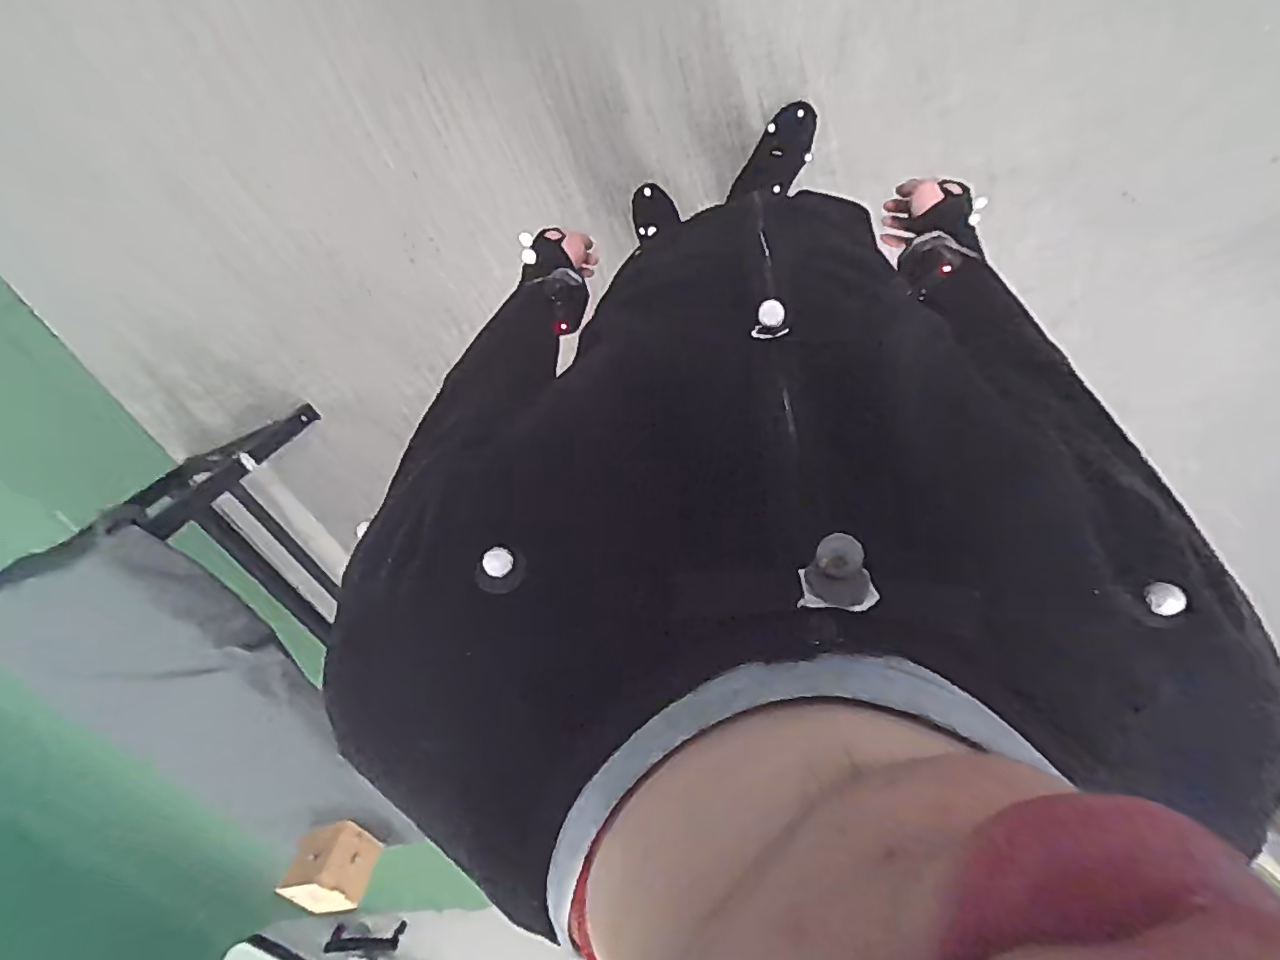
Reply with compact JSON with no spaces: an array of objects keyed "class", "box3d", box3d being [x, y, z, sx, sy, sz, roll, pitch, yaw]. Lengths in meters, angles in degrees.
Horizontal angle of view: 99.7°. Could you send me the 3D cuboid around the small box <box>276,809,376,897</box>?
[{"class":"small box","box3d":[-0.934,1.124,1.635,0.179,0.176,0.168,-21,118,18]}]
